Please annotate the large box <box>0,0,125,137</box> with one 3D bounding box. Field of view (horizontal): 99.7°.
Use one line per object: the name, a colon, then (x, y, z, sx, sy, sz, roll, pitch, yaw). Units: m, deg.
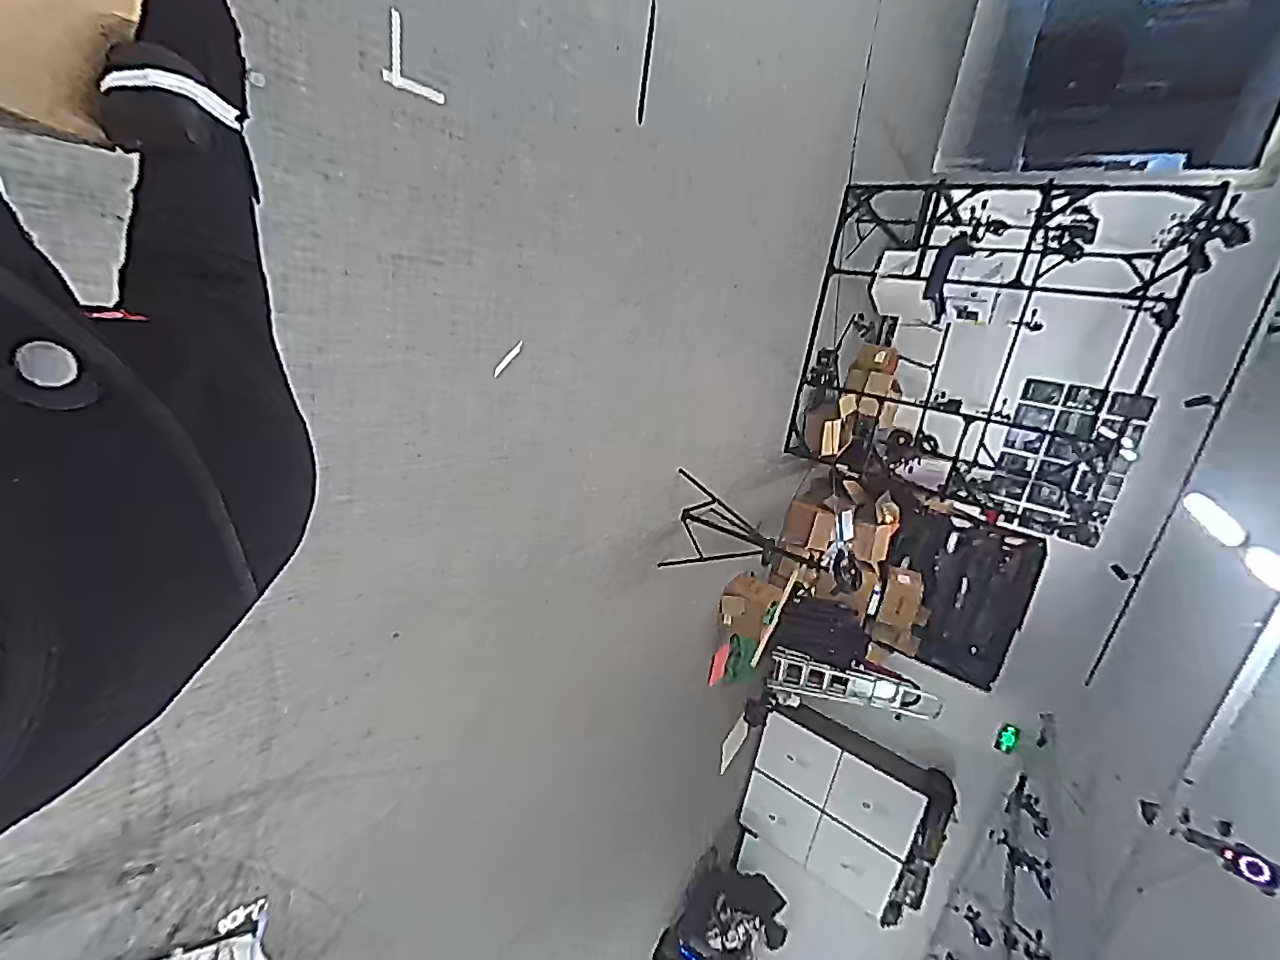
large box: (-0.581, -0.451, 0.285, 0.408, 0.320, 0.320, 1, 111, -59)
